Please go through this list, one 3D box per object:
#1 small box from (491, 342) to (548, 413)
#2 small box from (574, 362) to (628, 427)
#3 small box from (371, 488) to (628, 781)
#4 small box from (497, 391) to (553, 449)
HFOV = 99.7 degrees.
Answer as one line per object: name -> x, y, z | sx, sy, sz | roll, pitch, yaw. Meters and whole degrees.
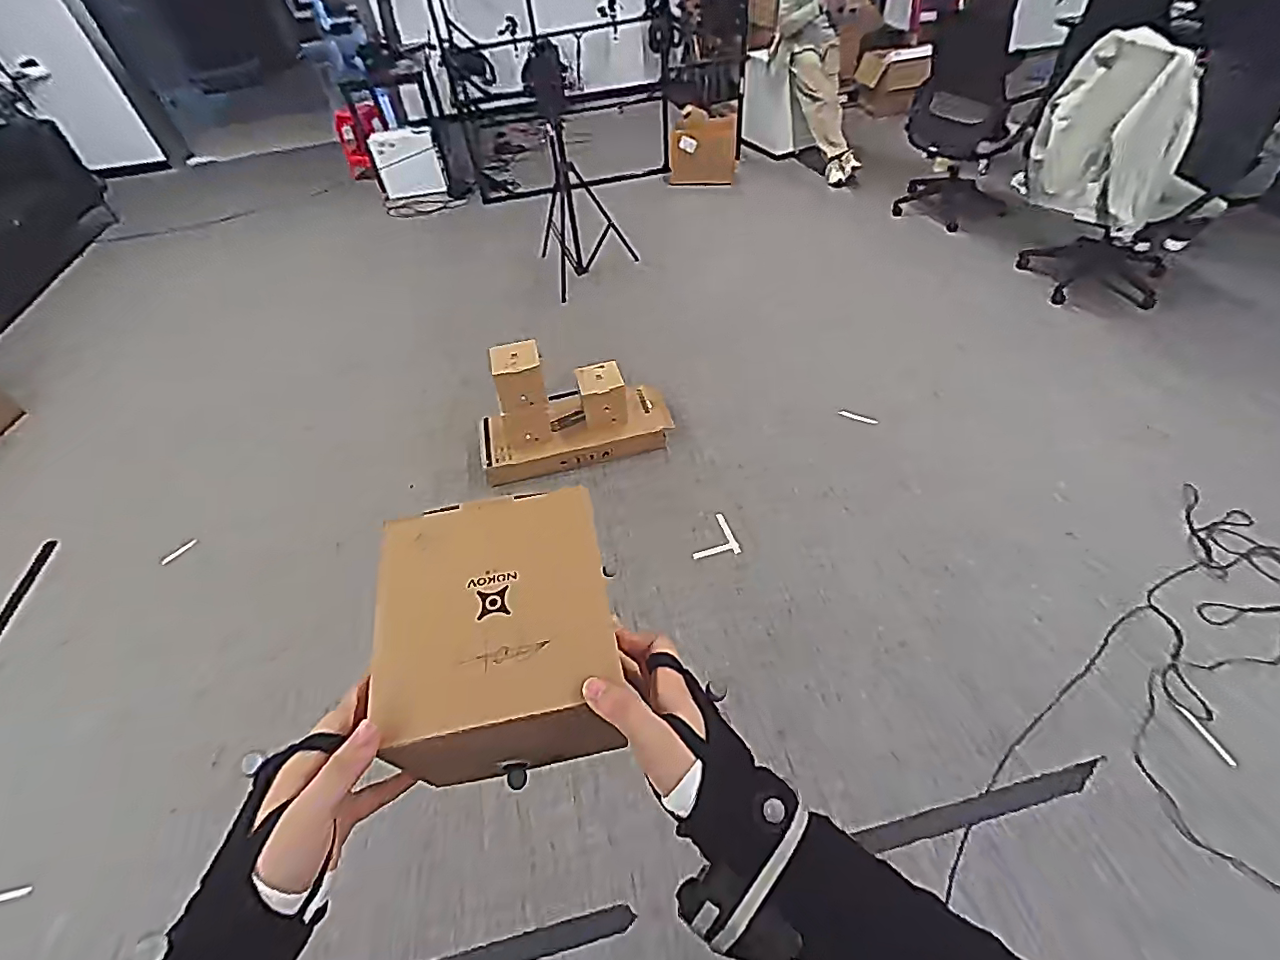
small box -> -0.432, -0.368, 1.943 | 0.168, 0.176, 0.179 | -13, 47, -6
small box -> -0.150, -0.325, 2.098 | 0.168, 0.176, 0.179 | -14, 48, -7
small box -> -0.107, 0.133, 0.462 | 0.168, 0.176, 0.179 | -10, 54, -7
small box -> -0.437, -0.246, 2.056 | 0.168, 0.176, 0.179 | -14, 48, -8
